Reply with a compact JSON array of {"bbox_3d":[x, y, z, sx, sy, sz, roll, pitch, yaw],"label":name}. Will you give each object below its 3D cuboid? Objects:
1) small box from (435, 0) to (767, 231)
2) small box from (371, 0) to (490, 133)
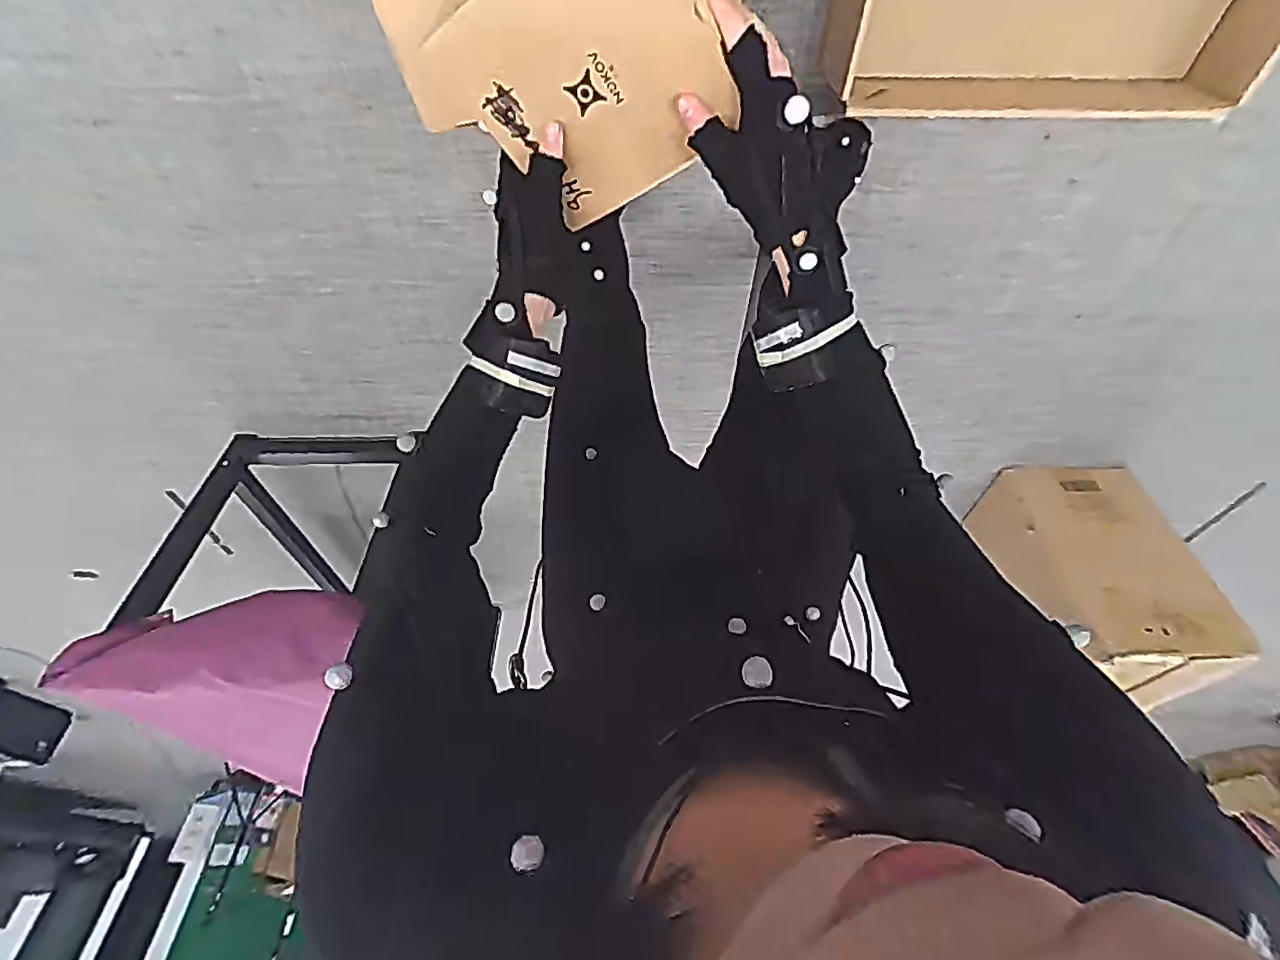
[{"bbox_3d":[-0.021,-0.341,0.412,0.179,0.176,0.168,-16,145,28],"label":"small box"},{"bbox_3d":[-0.166,-0.499,0.559,0.168,0.176,0.179,-8,139,7],"label":"small box"}]
